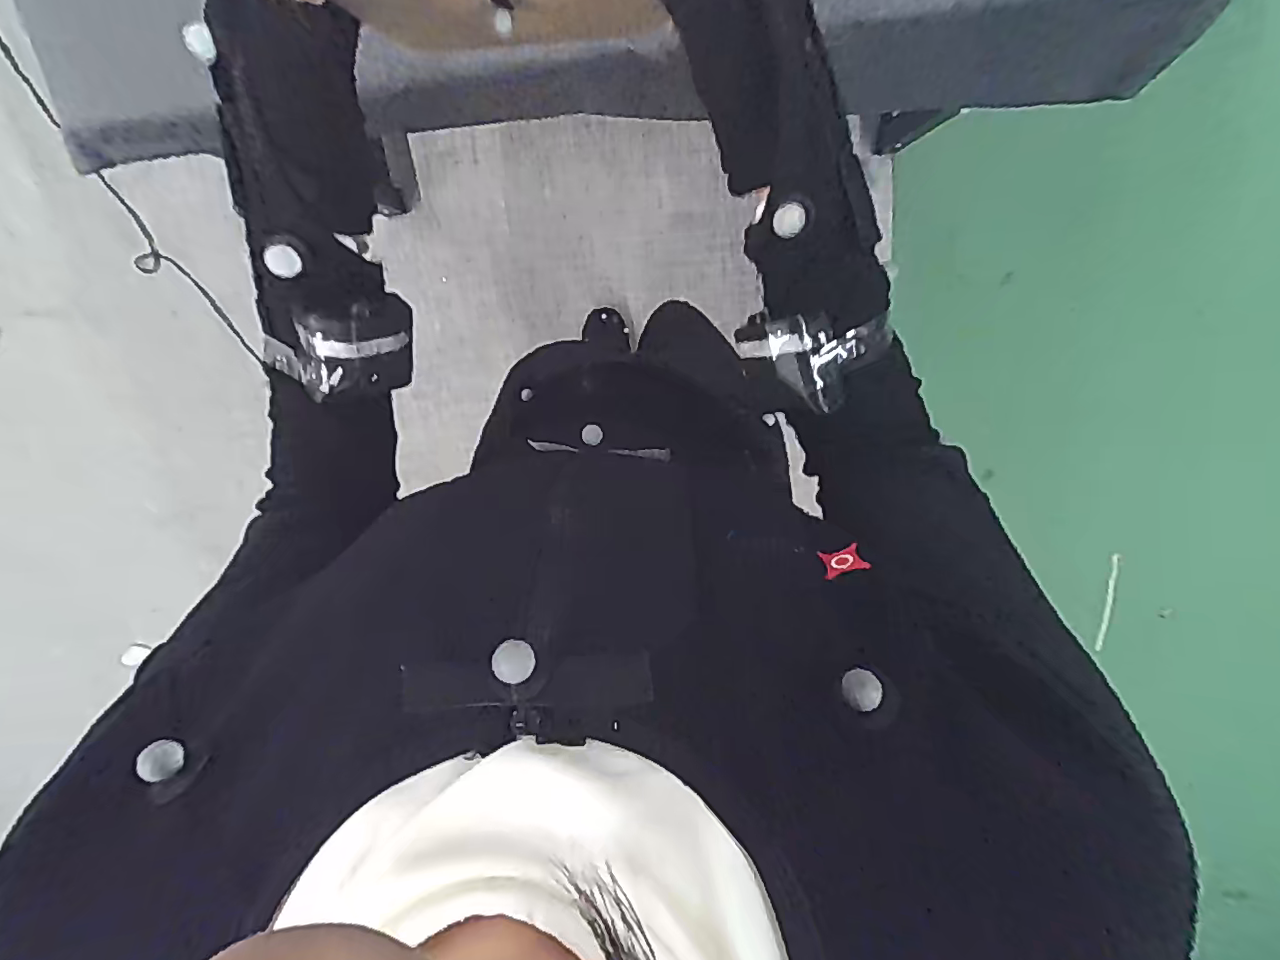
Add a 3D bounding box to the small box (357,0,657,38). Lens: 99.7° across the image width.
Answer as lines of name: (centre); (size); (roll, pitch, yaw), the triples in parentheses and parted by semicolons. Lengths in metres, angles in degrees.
small box: (-0.070, -0.327, 0.244); (0.179, 0.176, 0.168); (-5, 118, 1)
